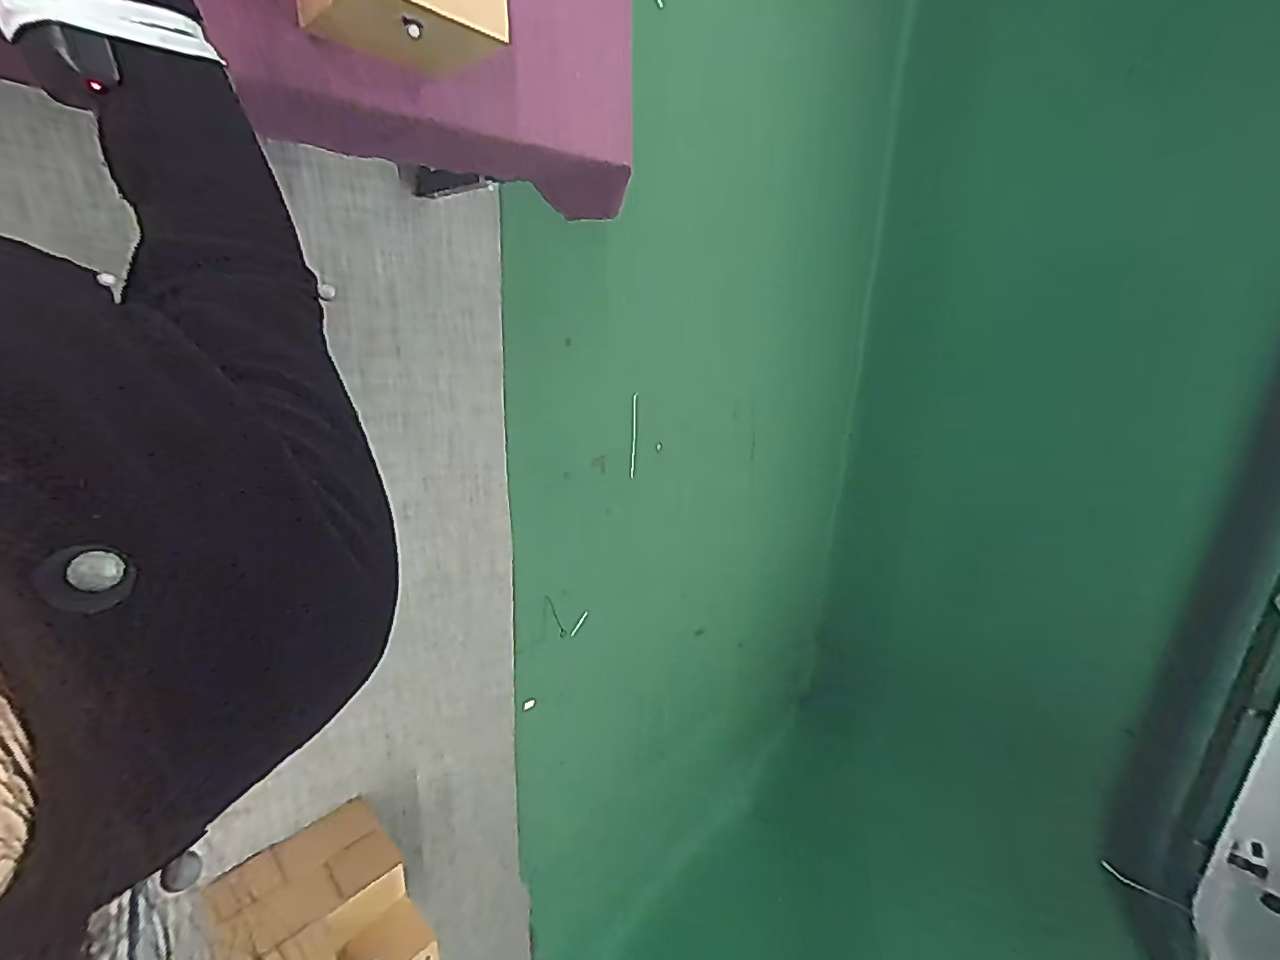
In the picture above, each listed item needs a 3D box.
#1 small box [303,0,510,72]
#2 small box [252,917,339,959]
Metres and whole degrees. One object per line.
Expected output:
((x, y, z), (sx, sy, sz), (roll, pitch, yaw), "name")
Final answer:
((-0.272, -0.598, 0.613), (0.179, 0.176, 0.168), (-18, 116, -46), "small box")
((-0.817, 1.206, 1.274), (0.179, 0.176, 0.168), (-14, 115, -46), "small box")
